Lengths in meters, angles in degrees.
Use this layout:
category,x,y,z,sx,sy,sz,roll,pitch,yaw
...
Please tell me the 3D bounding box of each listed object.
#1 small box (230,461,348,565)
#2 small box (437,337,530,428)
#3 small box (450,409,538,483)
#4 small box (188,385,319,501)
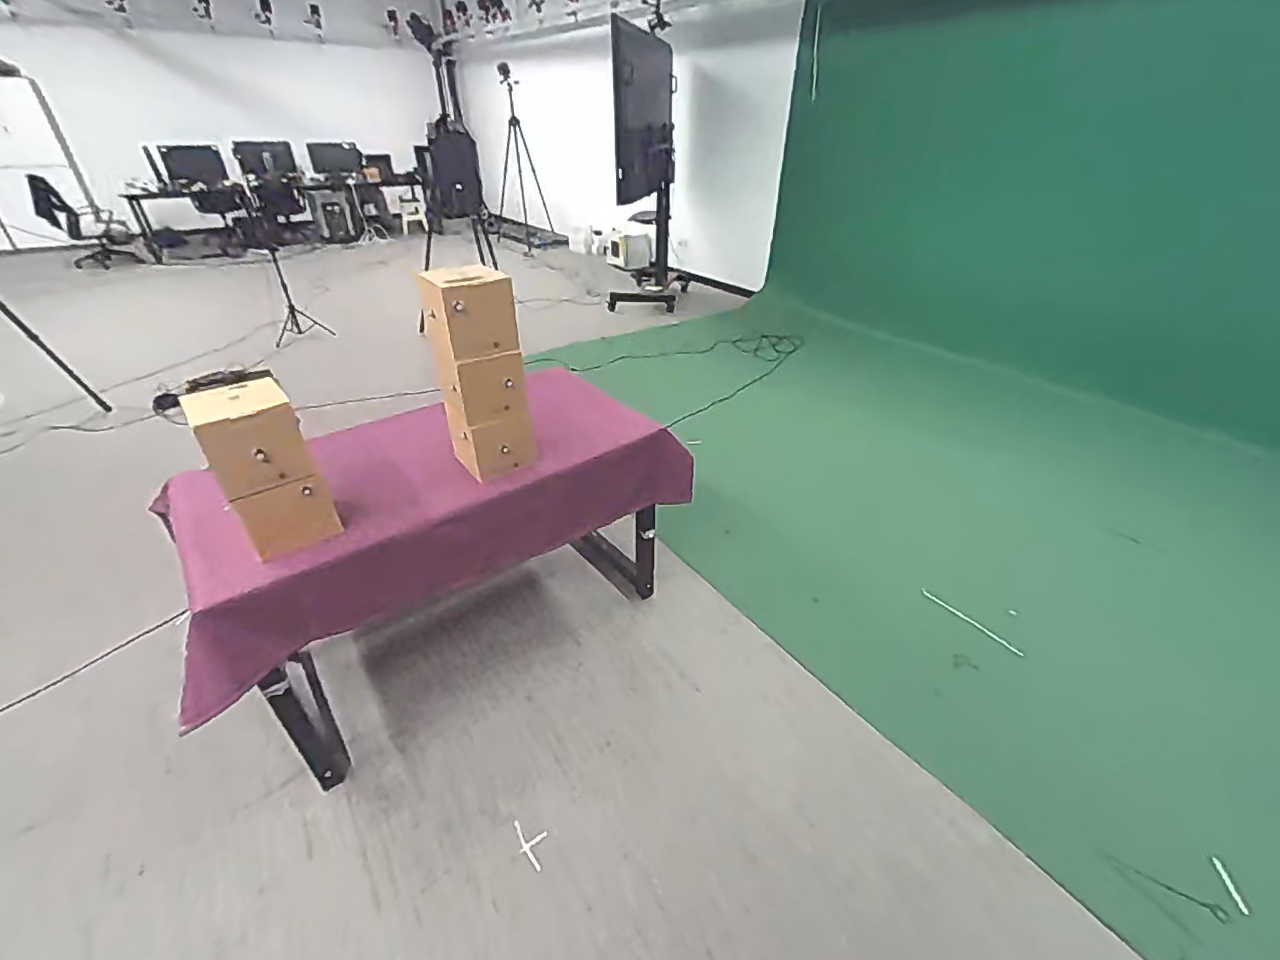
category,x,y,z,sx,sy,sz,roll,pitch,yaw
small box,-0.792,0.063,1.216,0.179,0.176,0.168,-25,40,-33
small box,-0.396,-0.248,1.383,0.168,0.176,0.179,-21,38,-29
small box,-0.393,-0.109,1.470,0.168,0.176,0.179,-23,39,-30
small box,-0.798,-0.075,1.126,0.168,0.176,0.179,-24,40,-34
